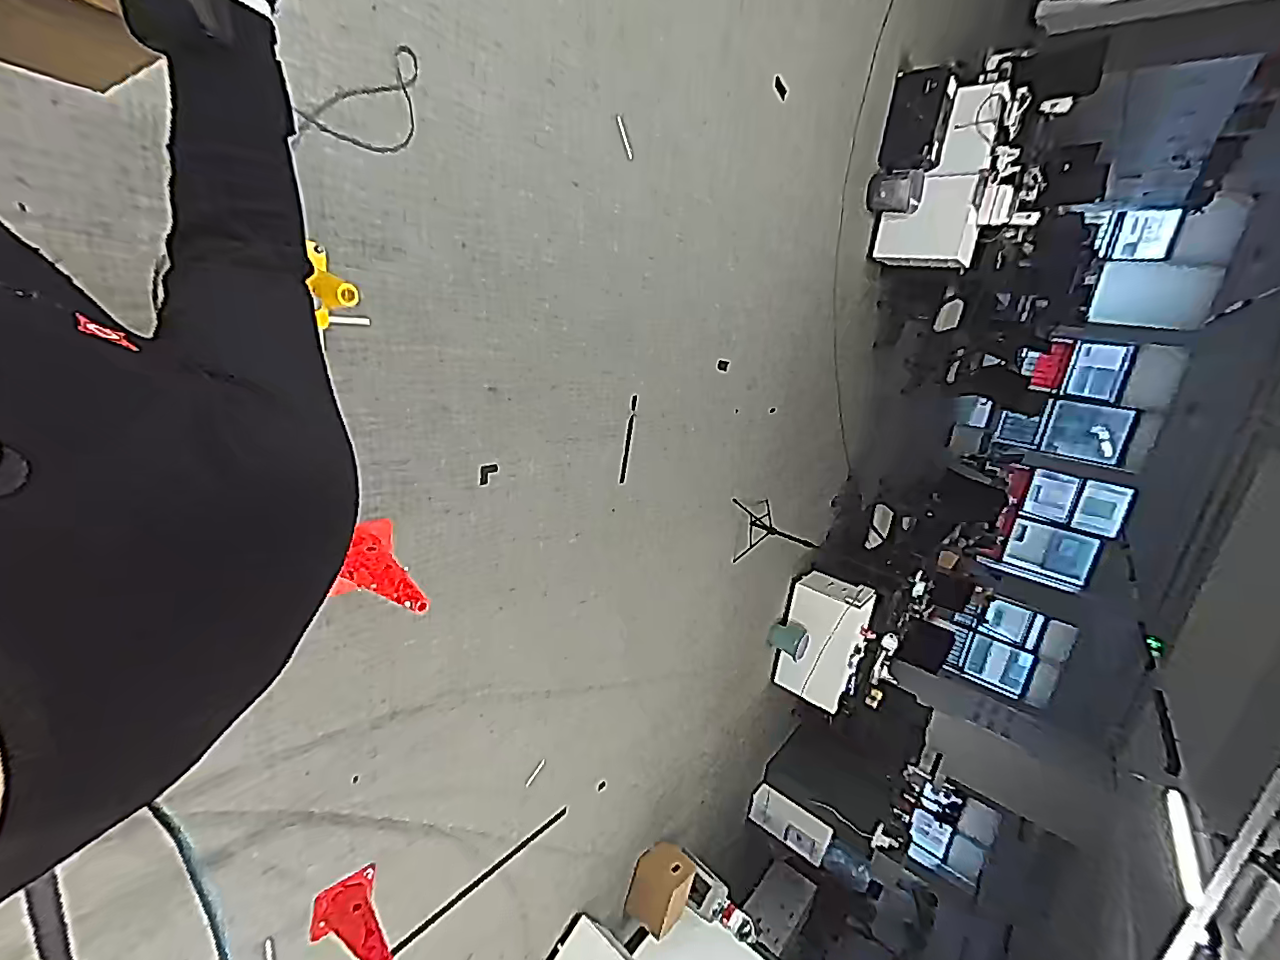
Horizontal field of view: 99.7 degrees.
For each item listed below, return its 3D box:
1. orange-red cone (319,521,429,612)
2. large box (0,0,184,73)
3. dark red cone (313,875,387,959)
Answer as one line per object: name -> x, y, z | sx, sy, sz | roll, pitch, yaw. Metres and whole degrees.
orange-red cone -> -0.685, 0.269, 1.461 | 0.198, 0.360, 0.199 | -16, 117, -49
large box -> -0.532, -0.480, 0.265 | 0.408, 0.320, 0.320 | -11, 116, -51
dark red cone -> -0.884, 1.522, 1.749 | 0.201, 0.394, 0.202 | -3, 108, -51
